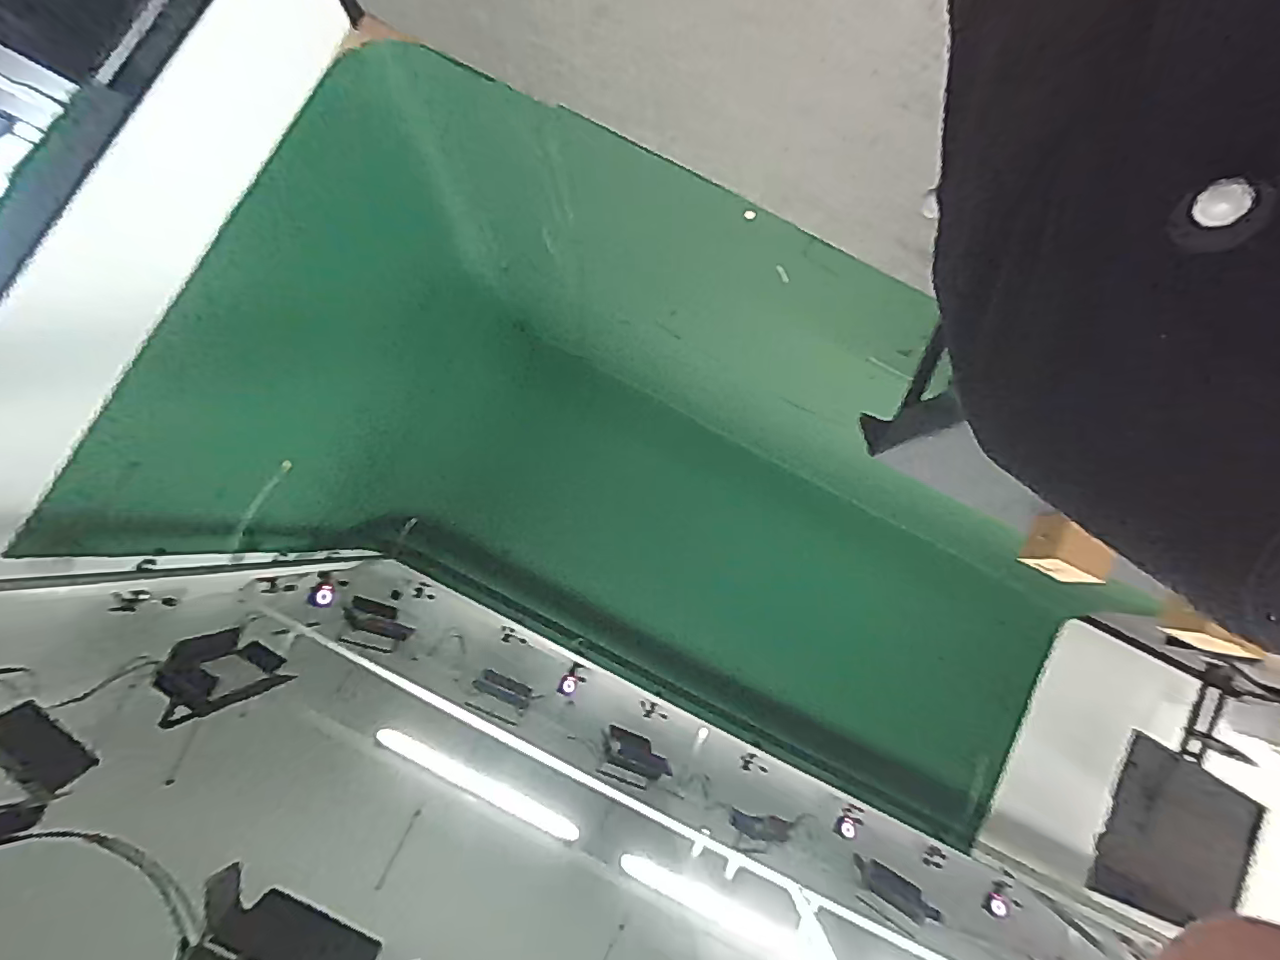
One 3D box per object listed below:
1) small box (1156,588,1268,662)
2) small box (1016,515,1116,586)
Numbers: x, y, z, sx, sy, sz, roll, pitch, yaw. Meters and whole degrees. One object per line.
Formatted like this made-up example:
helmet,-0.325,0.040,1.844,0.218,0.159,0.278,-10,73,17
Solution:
small box,1.837,0.458,1.734,0.168,0.176,0.179,28,172,6
small box,1.394,0.229,1.768,0.168,0.176,0.179,27,172,4
